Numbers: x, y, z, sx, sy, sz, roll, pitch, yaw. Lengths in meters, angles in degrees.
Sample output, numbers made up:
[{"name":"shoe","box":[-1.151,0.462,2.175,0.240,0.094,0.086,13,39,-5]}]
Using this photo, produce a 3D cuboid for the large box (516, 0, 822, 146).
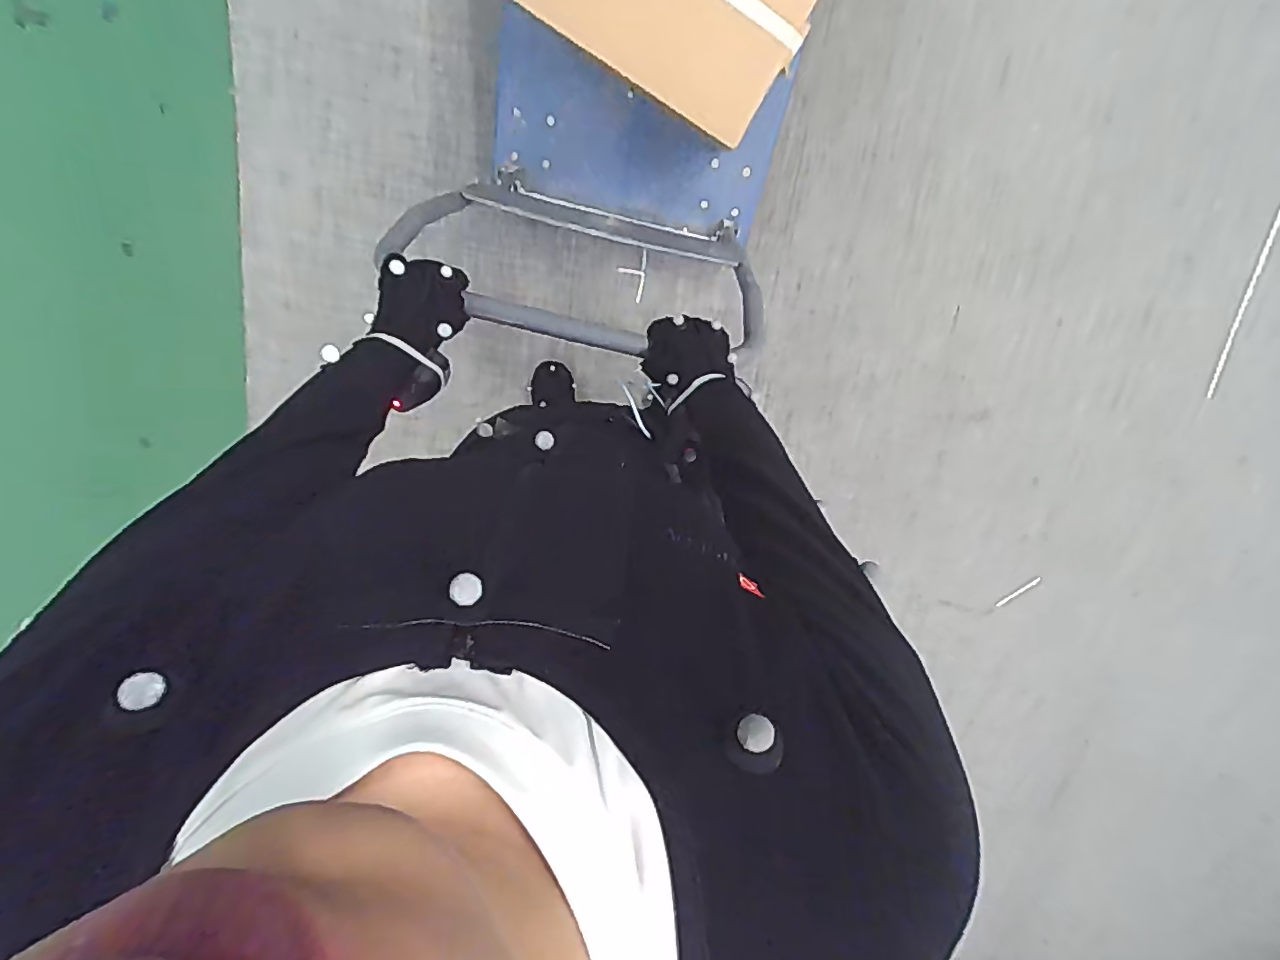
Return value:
[{"name":"large box","box":[0.075,-0.807,0.881,0.408,0.320,0.320,28,120,-11]}]
